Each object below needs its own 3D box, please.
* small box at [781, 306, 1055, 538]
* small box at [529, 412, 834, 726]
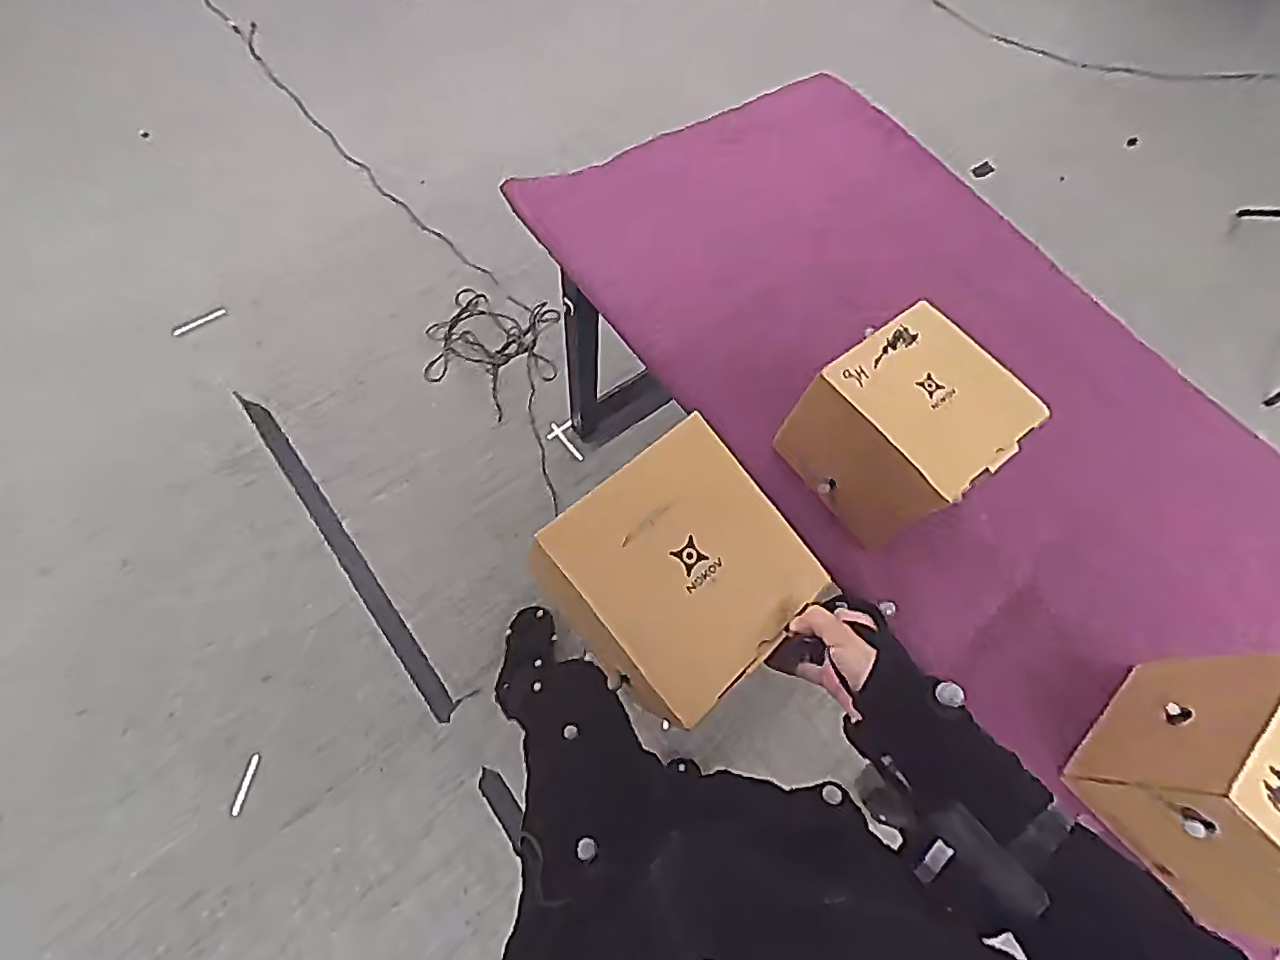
[{"bbox_3d":[0.294,-0.051,0.611,0.168,0.176,0.179,-34,75,-17],"label":"small box"},{"bbox_3d":[0.021,0.076,0.474,0.168,0.176,0.179,-38,88,-21],"label":"small box"}]
